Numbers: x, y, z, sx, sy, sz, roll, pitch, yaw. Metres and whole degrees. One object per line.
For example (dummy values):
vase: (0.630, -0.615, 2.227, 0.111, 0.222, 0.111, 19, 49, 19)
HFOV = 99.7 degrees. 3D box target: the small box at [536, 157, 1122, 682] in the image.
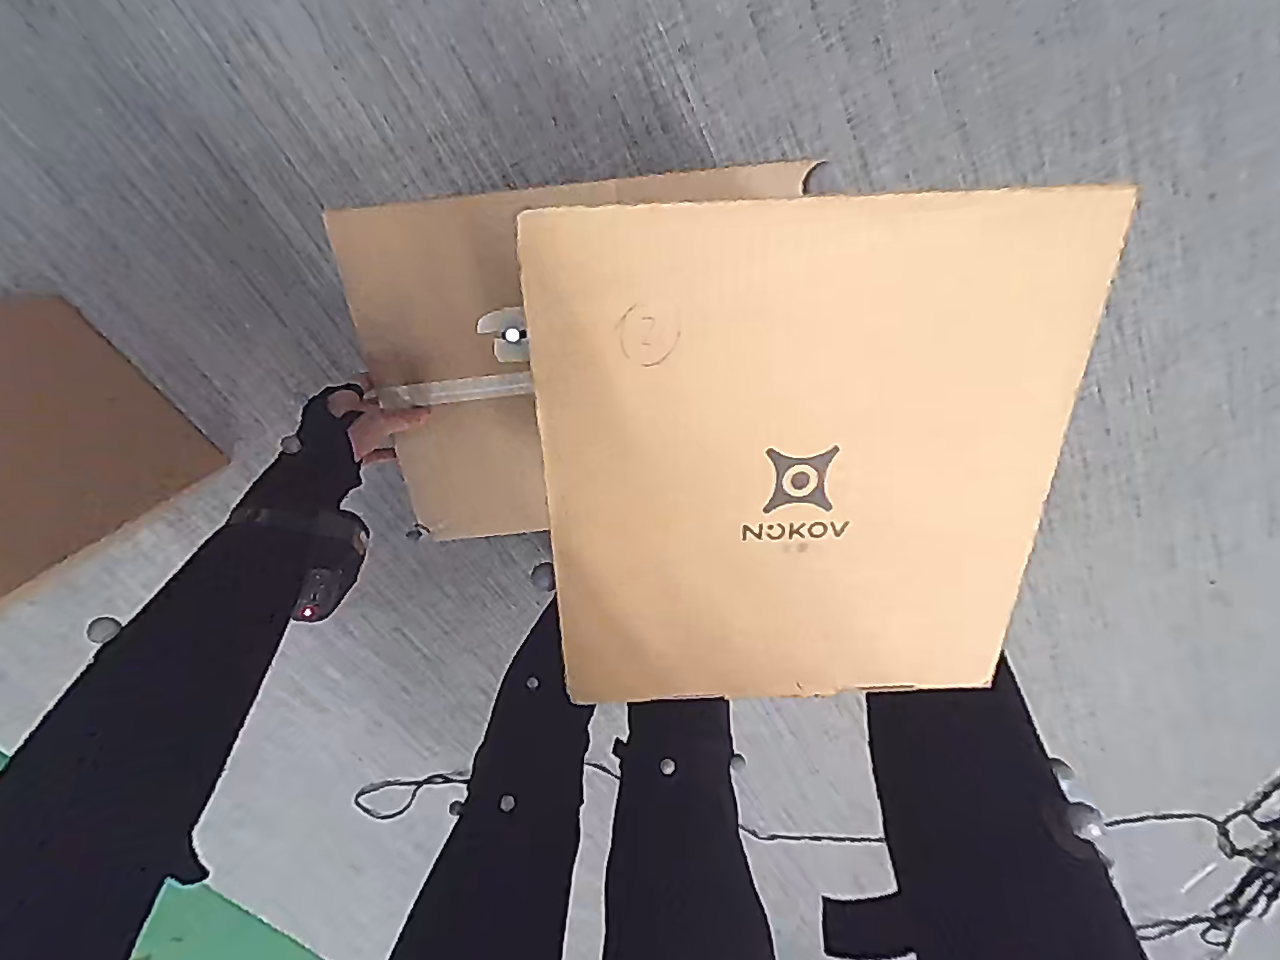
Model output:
small box: (0.052, -0.036, 0.252, 0.168, 0.176, 0.179, -2, 114, 0)
